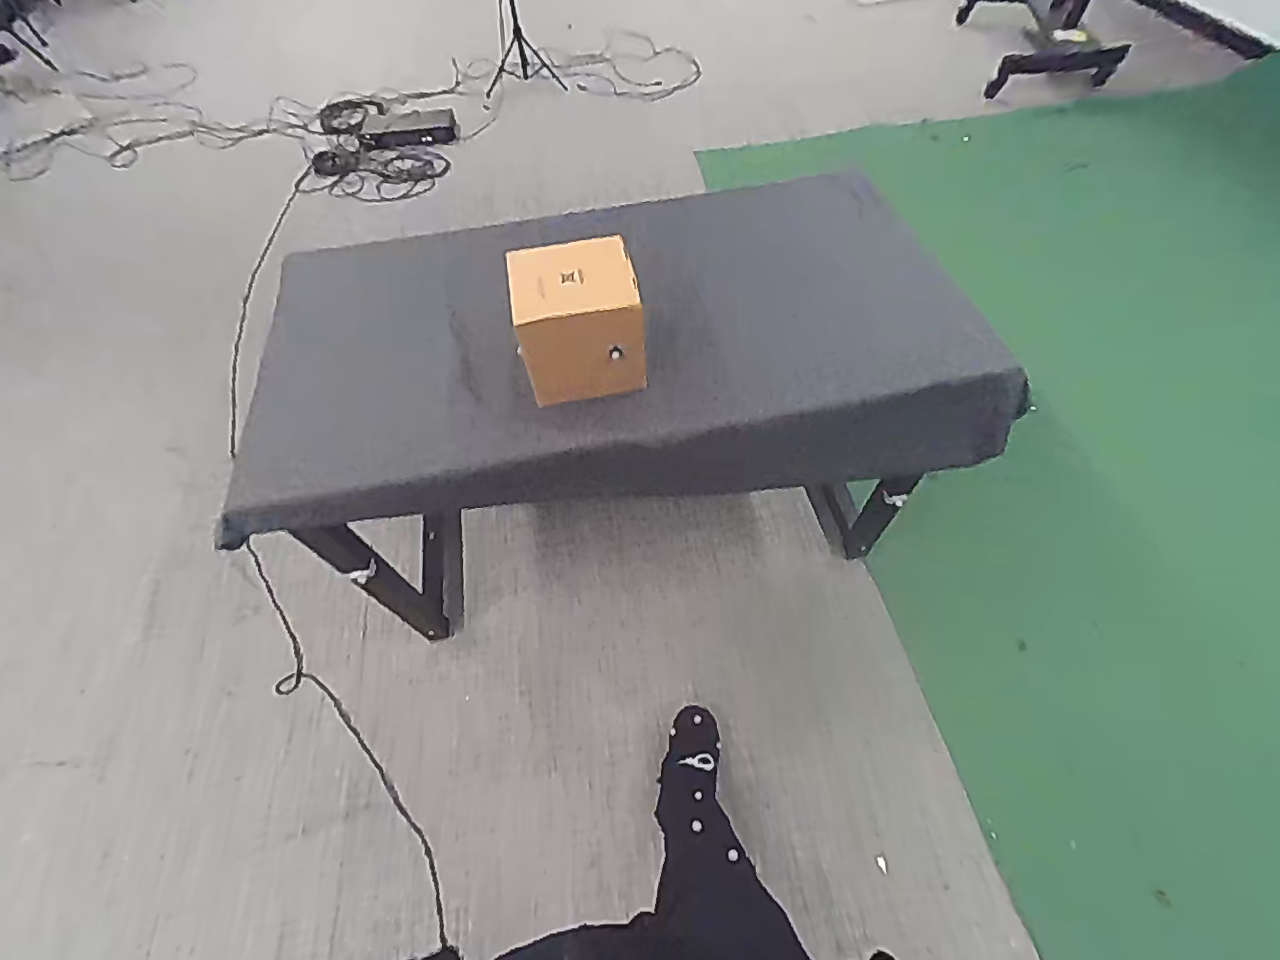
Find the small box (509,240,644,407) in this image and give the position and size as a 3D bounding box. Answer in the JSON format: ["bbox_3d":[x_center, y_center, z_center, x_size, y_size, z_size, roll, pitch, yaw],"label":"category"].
[{"bbox_3d":[-0.092,-0.236,0.833,0.179,0.176,0.168,-11,56,-3],"label":"small box"}]
